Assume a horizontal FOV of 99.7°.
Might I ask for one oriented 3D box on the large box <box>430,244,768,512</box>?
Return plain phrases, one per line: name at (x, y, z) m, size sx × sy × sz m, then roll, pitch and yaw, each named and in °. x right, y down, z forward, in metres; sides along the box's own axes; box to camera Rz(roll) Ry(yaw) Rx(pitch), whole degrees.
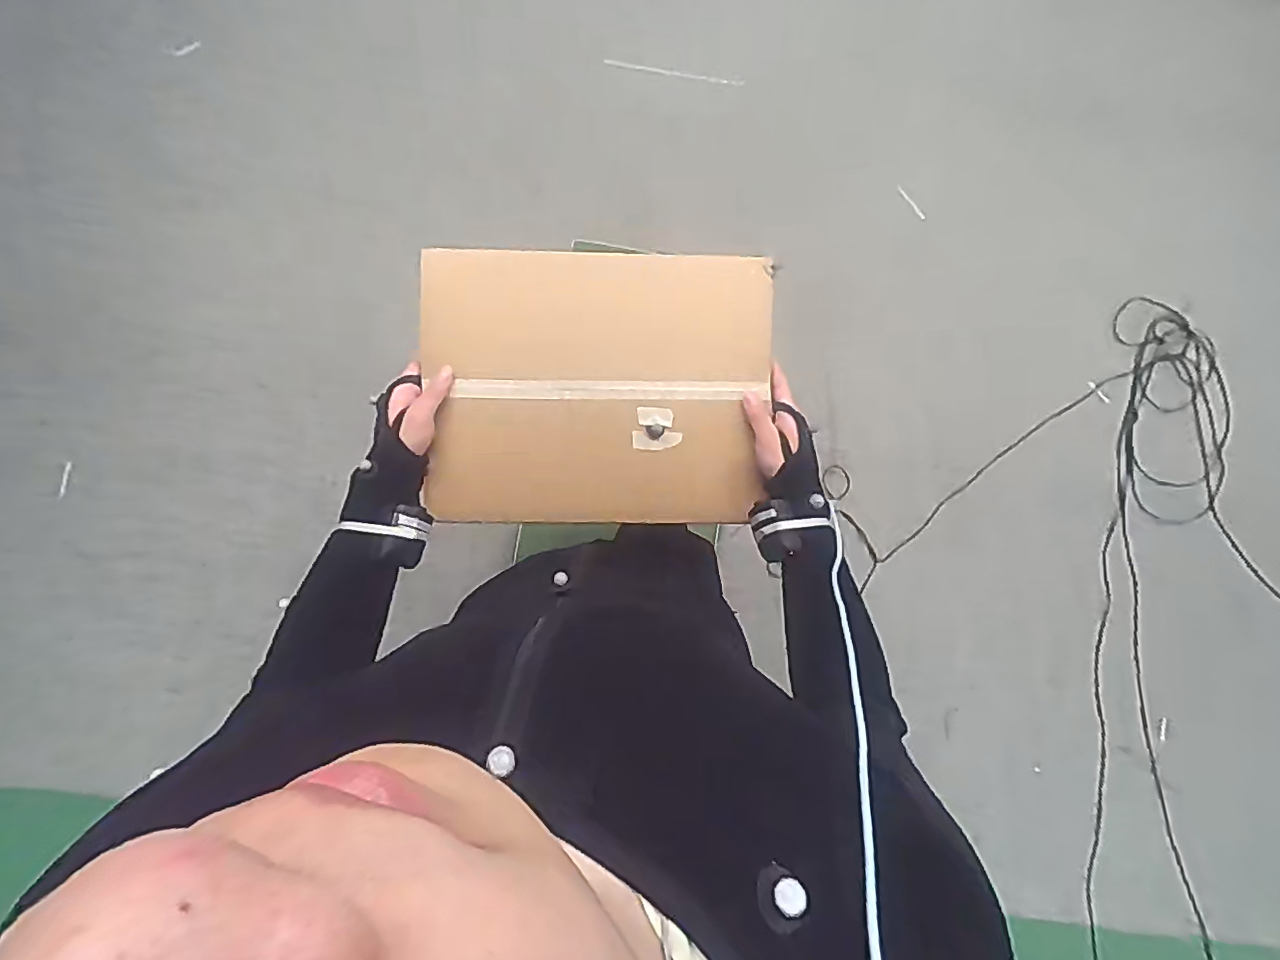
large box at (-0.055, -0.126, 0.788) m, size 0.408 × 0.320 × 0.320 m, roll 0°, pitch 93°, yaw -4°
